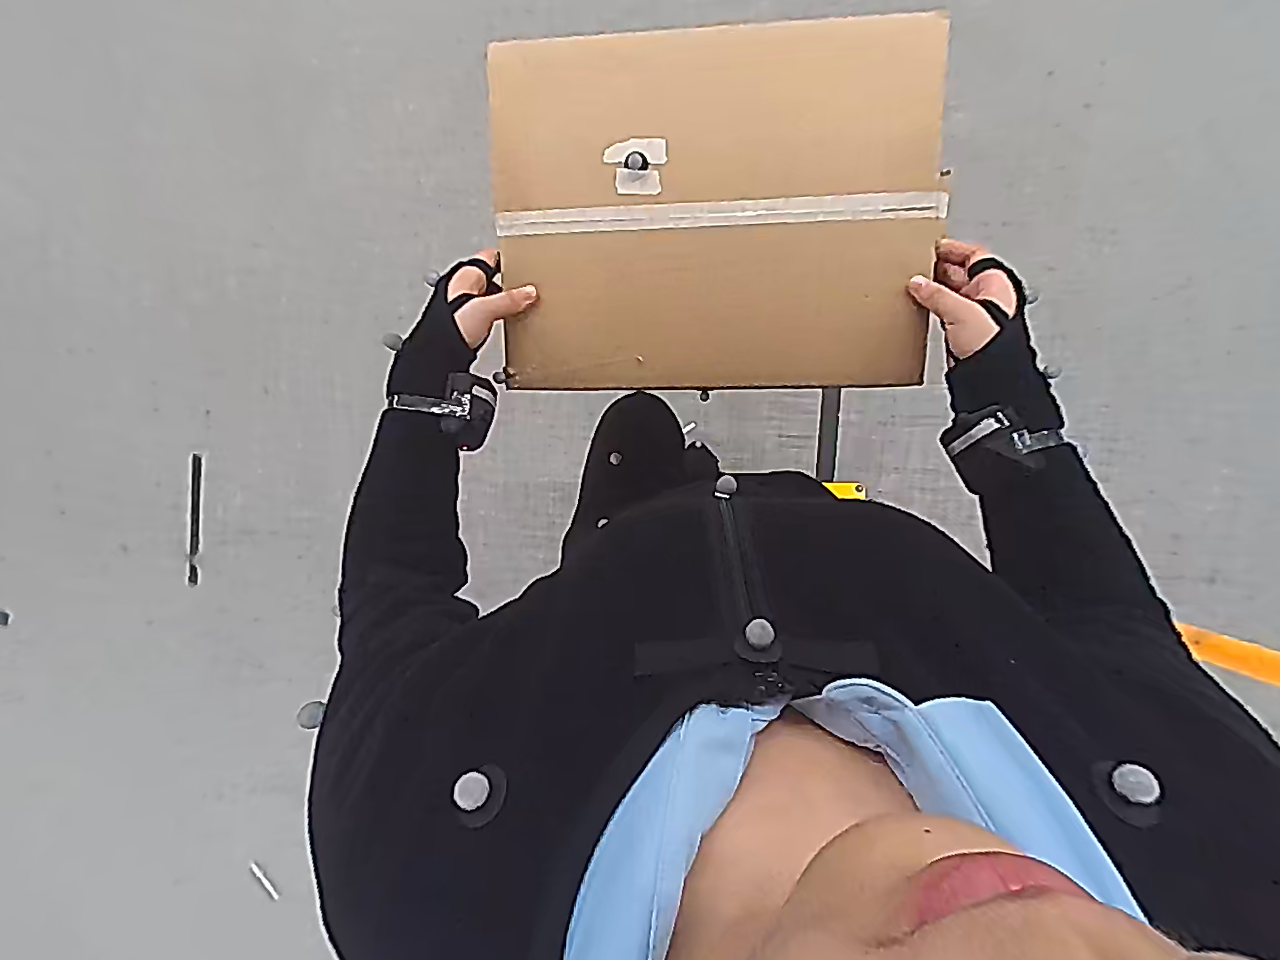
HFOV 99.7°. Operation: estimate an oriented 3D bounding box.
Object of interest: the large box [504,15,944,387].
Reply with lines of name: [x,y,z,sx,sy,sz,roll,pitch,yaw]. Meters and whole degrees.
large box: [0.089,-0.274,0.658,0.408,0.320,0.320,1,99,7]
